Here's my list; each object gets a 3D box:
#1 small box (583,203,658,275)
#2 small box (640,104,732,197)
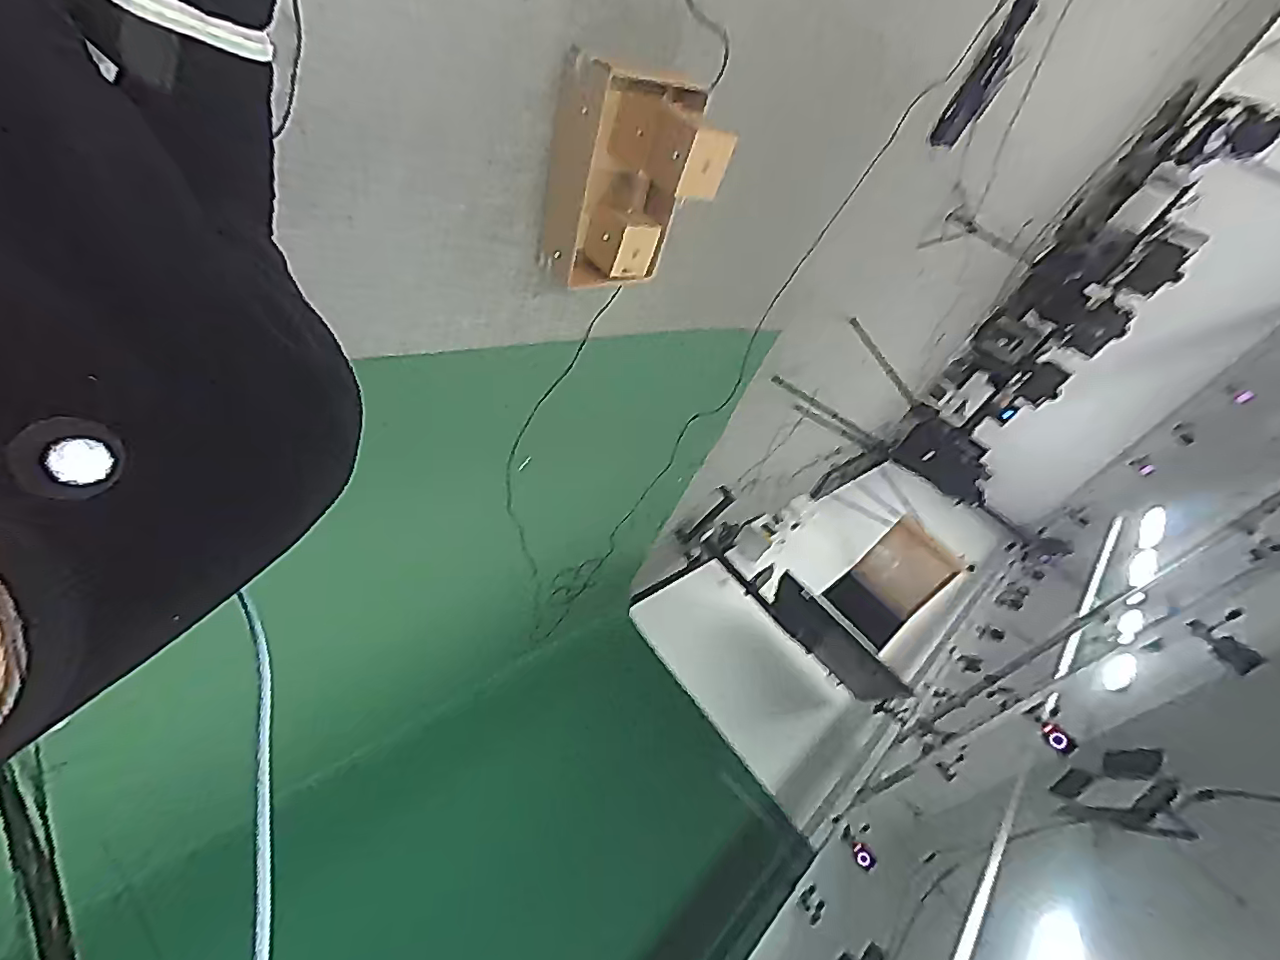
[{"bbox_3d":[-0.072,-0.819,1.837,0.168,0.176,0.179,-20,146,-41],"label":"small box"},{"bbox_3d":[0.125,-0.940,1.546,0.168,0.176,0.179,-19,147,-39],"label":"small box"}]
